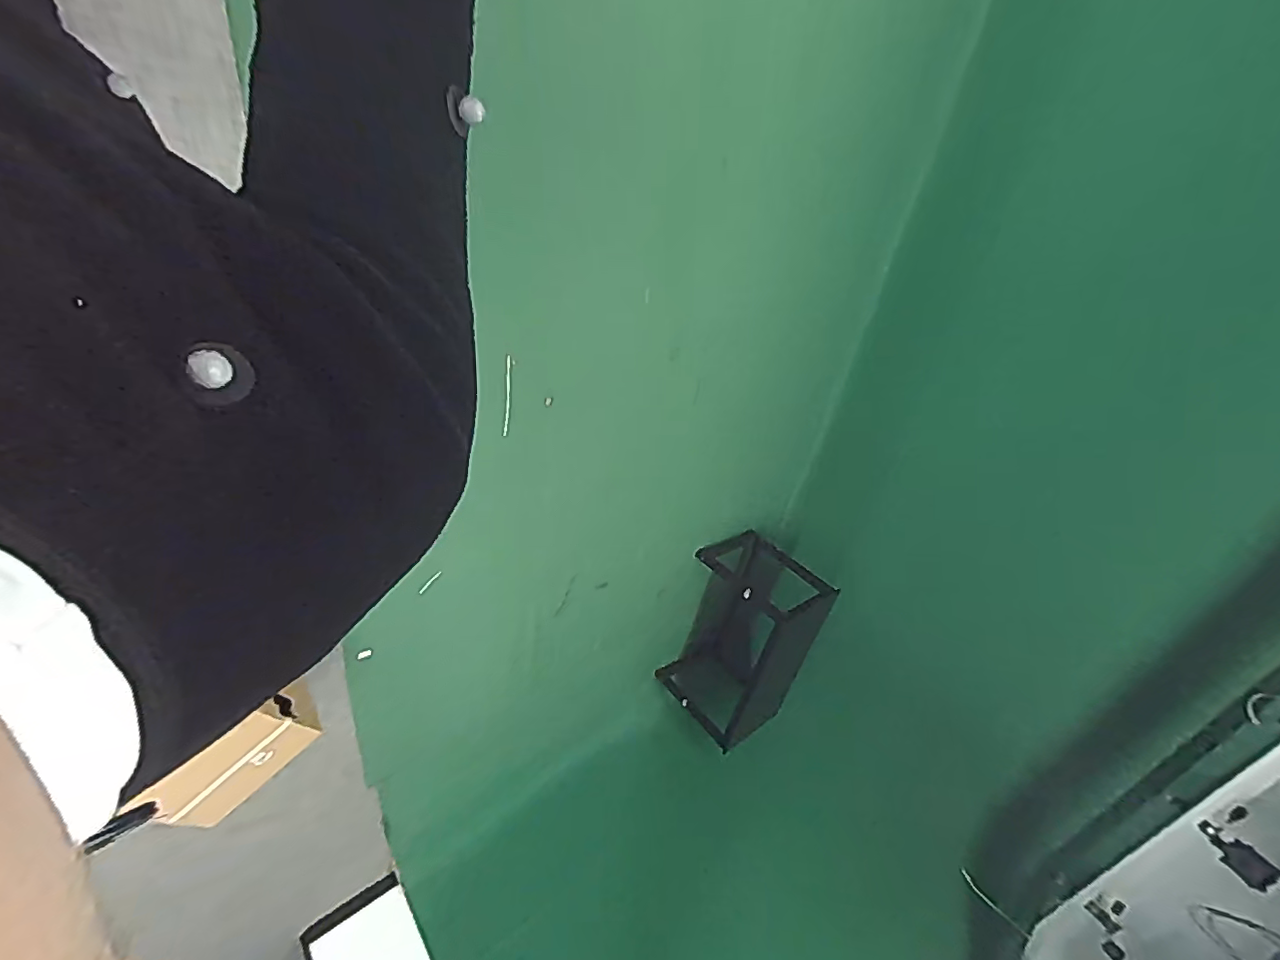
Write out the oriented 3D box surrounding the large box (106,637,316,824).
[{"bbox_3d":[-1.341,0.785,1.704,0.408,0.320,0.320,-42,143,-15],"label":"large box"}]
